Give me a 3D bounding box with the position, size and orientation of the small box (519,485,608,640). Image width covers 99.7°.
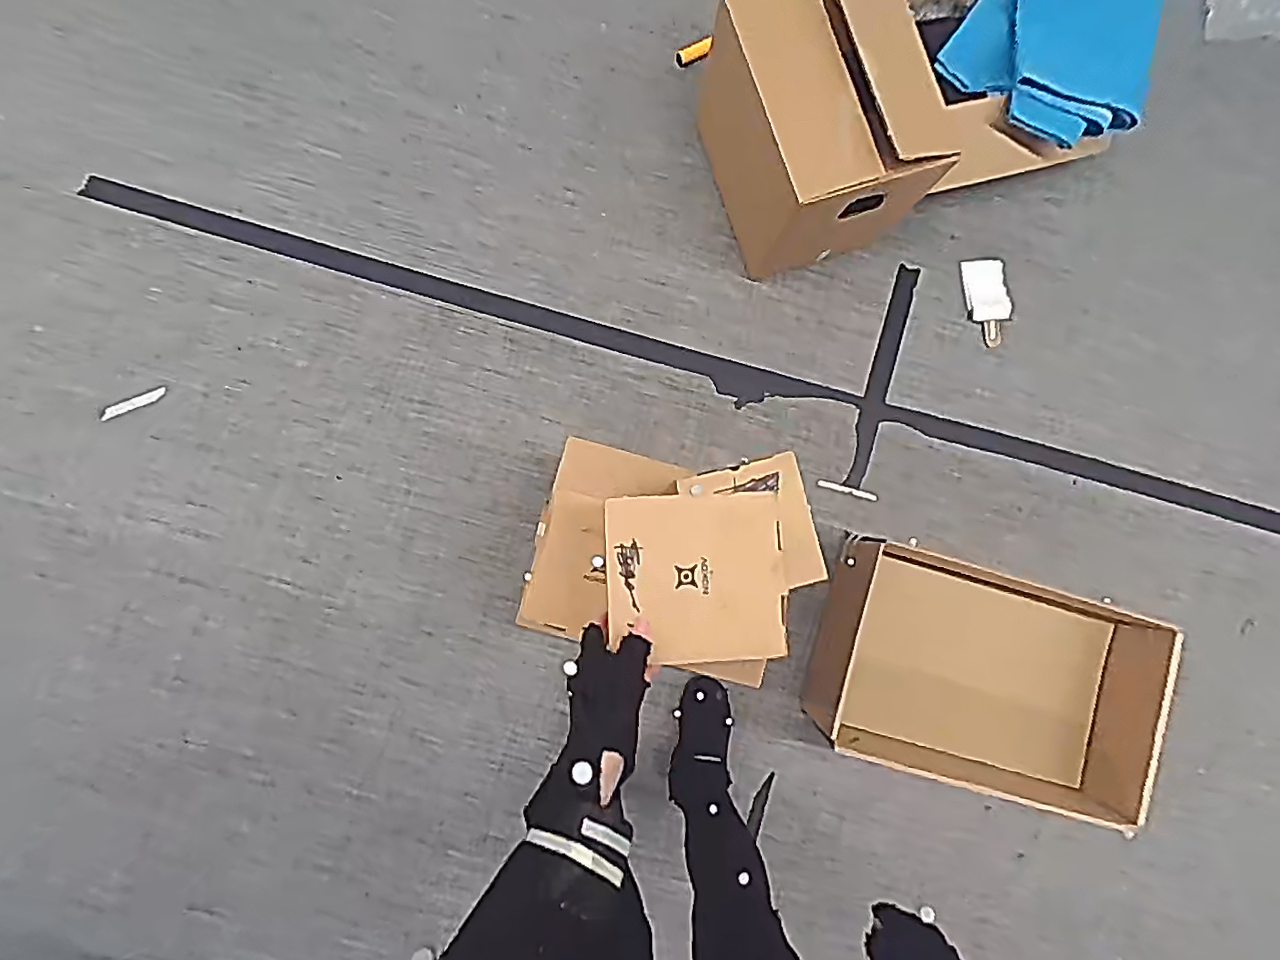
[{"bbox_3d":[-0.058,0.115,0.764,0.168,0.176,0.179,15,84,-4],"label":"small box"}]

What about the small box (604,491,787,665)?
[{"bbox_3d":[0.050,0.098,0.604,0.179,0.176,0.168,-2,85,-3],"label":"small box"}]

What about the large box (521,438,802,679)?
[{"bbox_3d":[0.029,0.134,1.010,0.408,0.320,0.320,15,86,-3],"label":"large box"}]
